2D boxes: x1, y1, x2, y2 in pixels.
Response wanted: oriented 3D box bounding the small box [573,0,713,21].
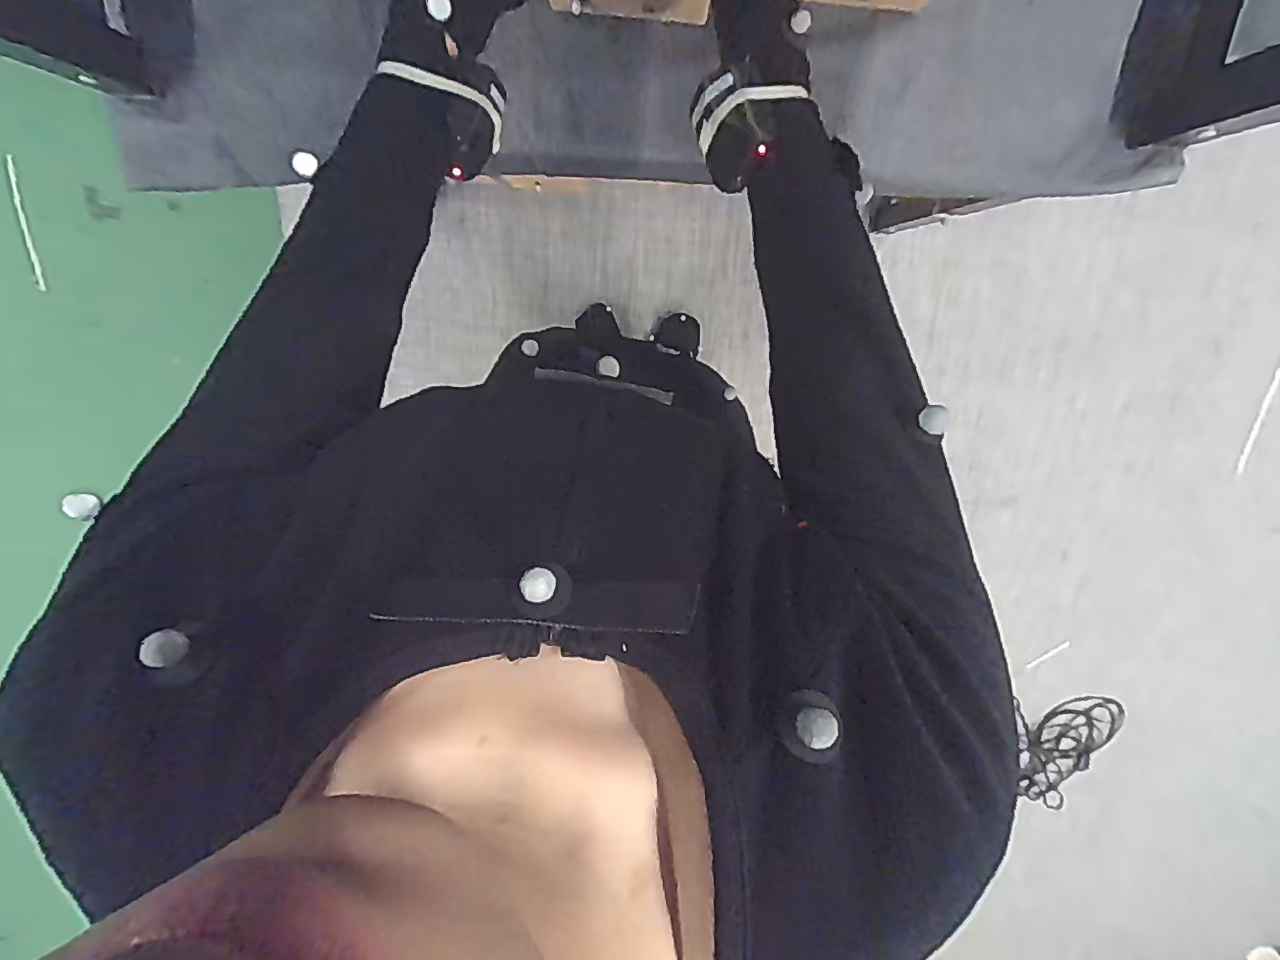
[{"bbox_3d":[-0.002,-0.556,0.481,0.168,0.176,0.179,5,104,0],"label":"small box"}]
